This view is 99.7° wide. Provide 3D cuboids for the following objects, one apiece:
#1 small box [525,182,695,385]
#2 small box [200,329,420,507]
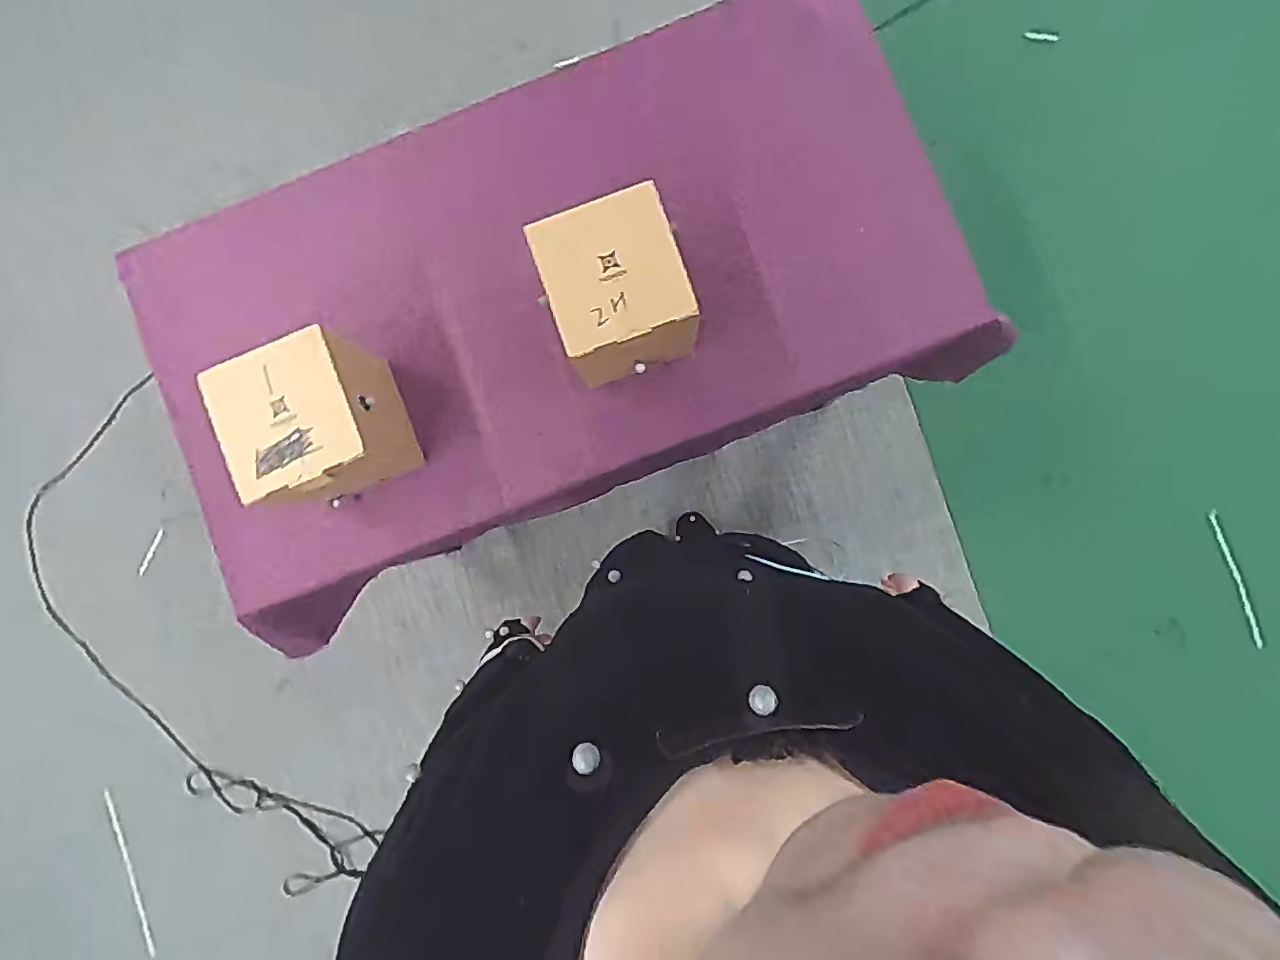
[{"bbox_3d":[-0.034,-0.247,0.724,0.168,0.176,0.179,-19,87,3],"label":"small box"},{"bbox_3d":[-0.432,-0.073,0.737,0.168,0.176,0.179,-23,86,1],"label":"small box"}]
